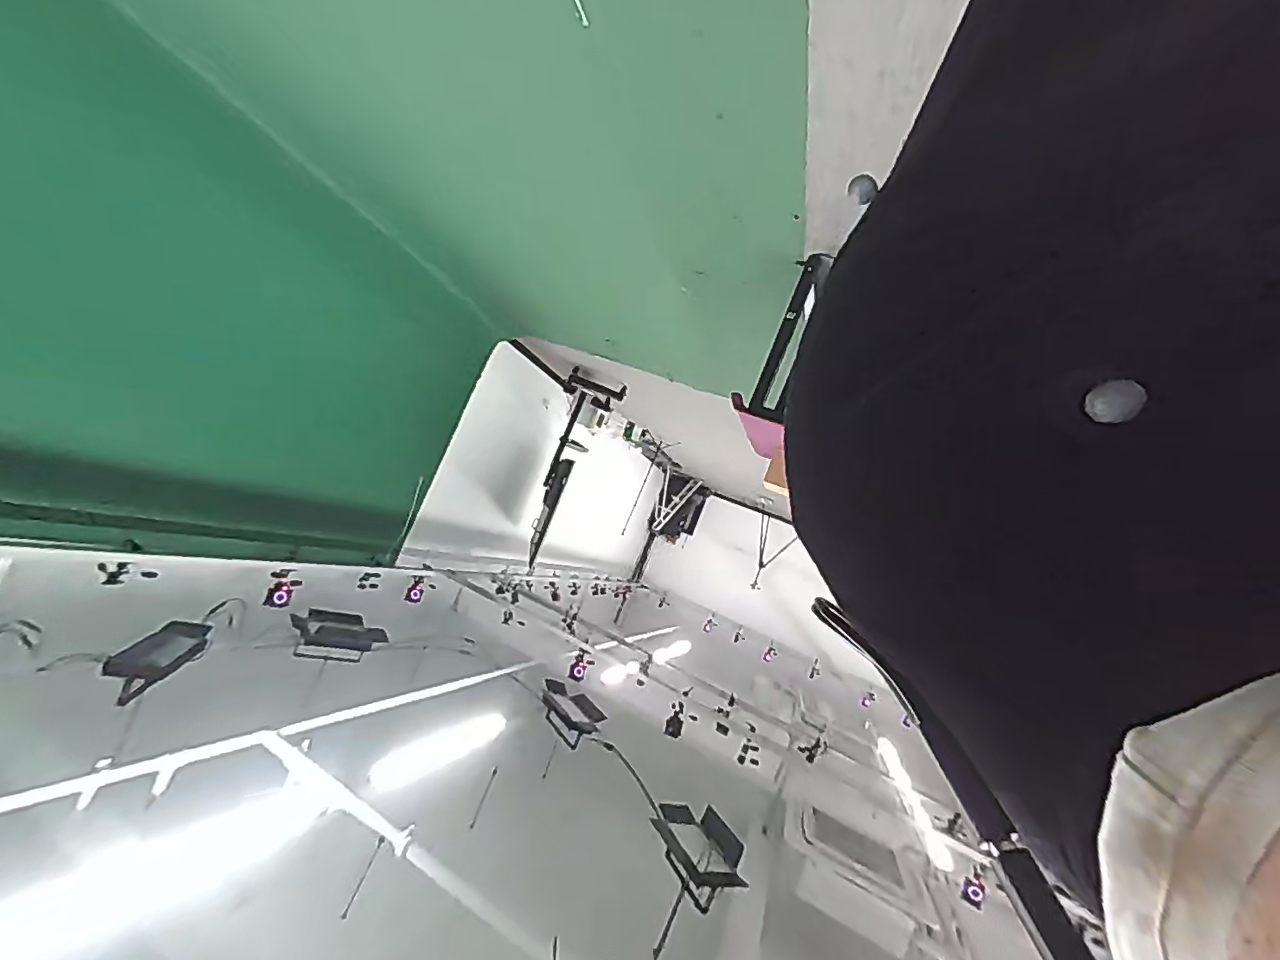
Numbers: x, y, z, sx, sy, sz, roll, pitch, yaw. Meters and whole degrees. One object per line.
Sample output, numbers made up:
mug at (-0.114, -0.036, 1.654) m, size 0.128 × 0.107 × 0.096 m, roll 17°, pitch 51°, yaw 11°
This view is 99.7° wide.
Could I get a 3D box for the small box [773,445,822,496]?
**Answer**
small box at (0.717, -0.043, 2.452) m, size 0.168 × 0.176 × 0.179 m, roll 20°, pitch 176°, yaw 20°
